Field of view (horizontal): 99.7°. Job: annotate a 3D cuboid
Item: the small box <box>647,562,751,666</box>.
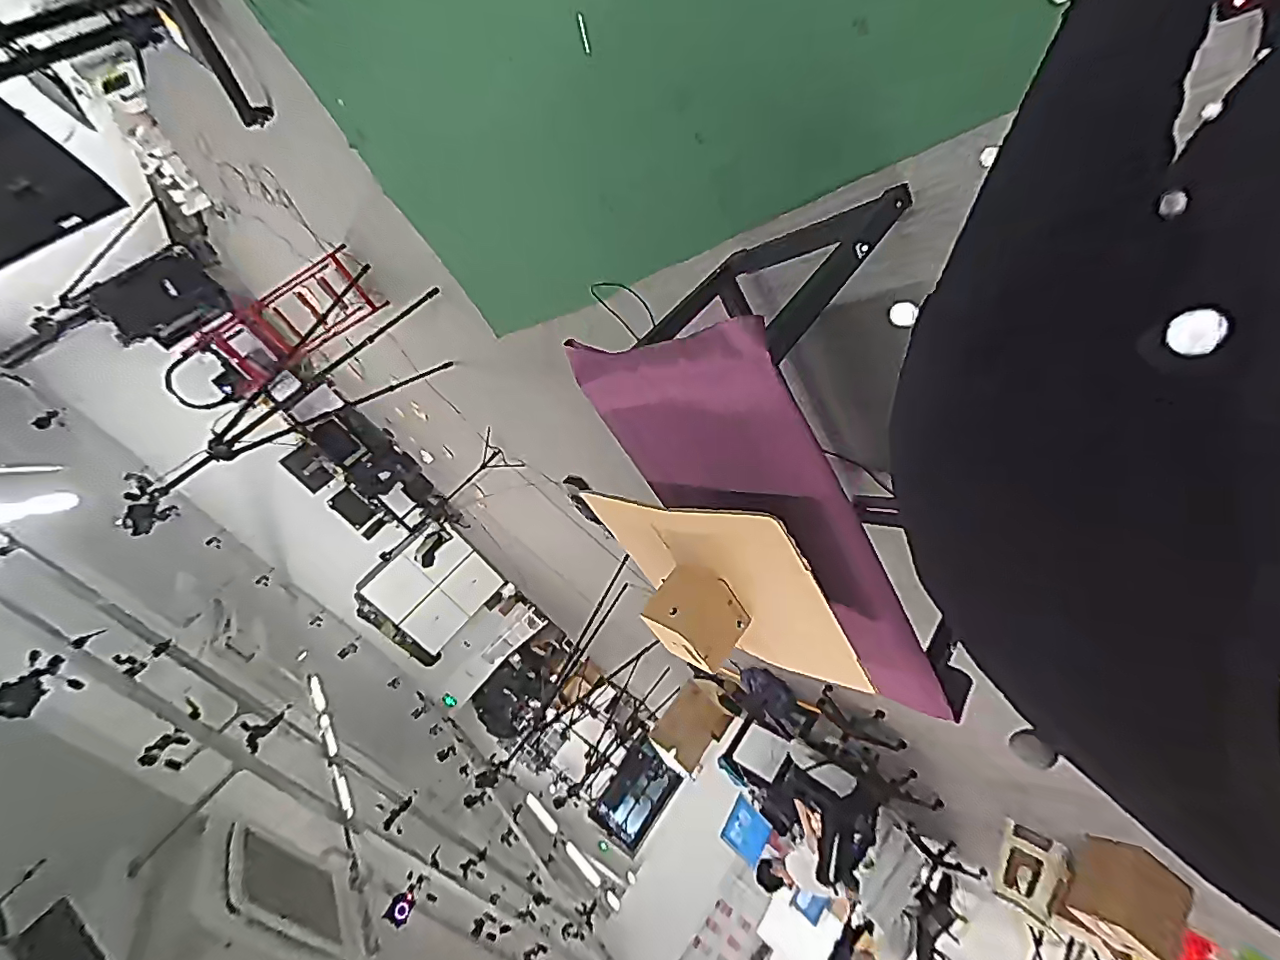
[{"bbox_3d":[0.157,0.331,1.368,0.179,0.176,0.168,10,142,53],"label":"small box"}]
